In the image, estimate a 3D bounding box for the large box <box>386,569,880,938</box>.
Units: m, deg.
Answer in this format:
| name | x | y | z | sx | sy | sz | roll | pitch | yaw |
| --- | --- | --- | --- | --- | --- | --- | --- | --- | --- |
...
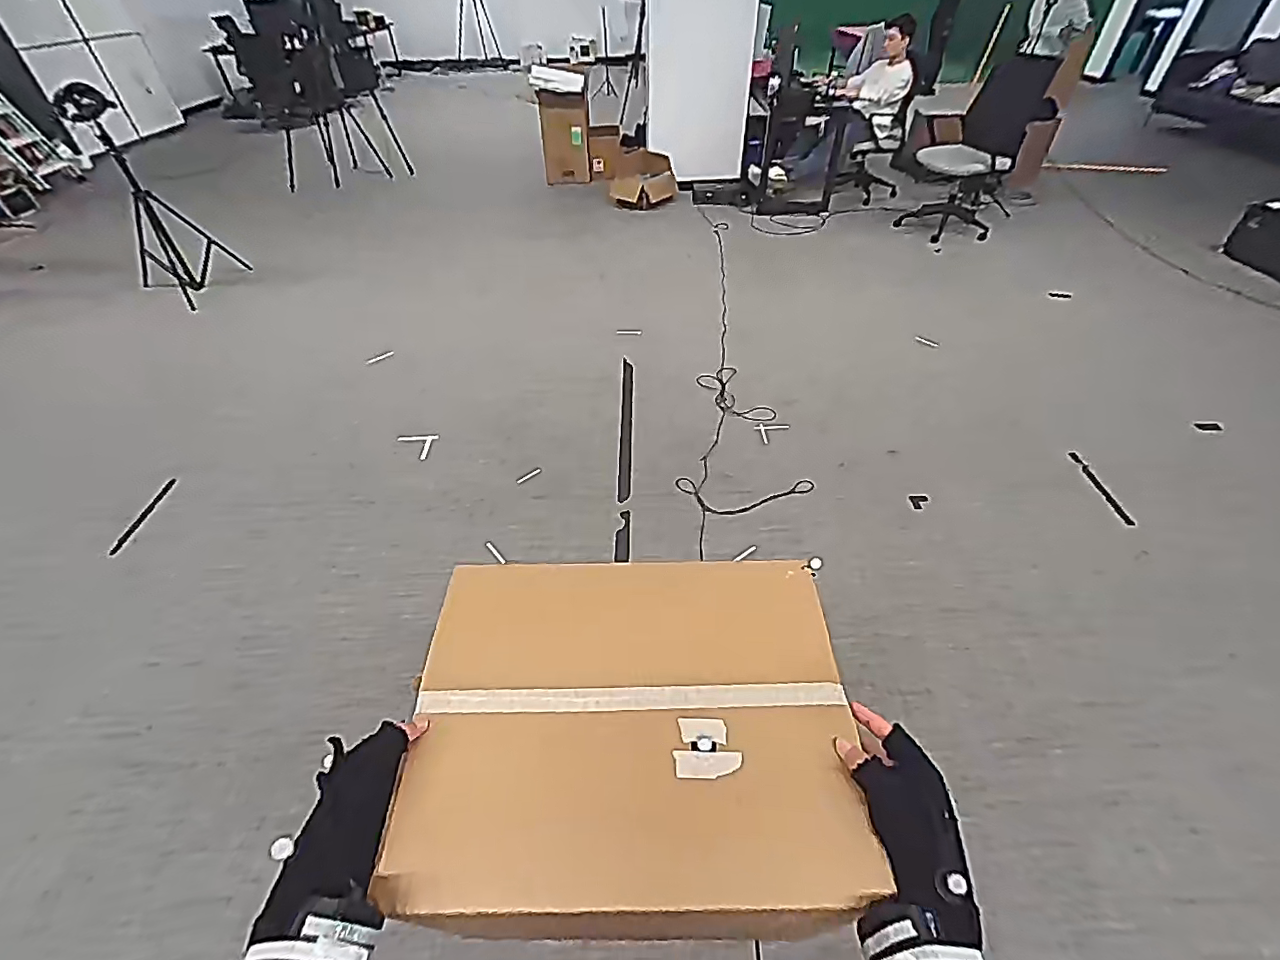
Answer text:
| name | x | y | z | sx | sy | sz | roll | pitch | yaw |
| --- | --- | --- | --- | --- | --- | --- | --- | --- | --- |
| large box | -0.007 | 0.321 | 0.636 | 0.408 | 0.320 | 0.320 | -1 | 47 | 0 |
